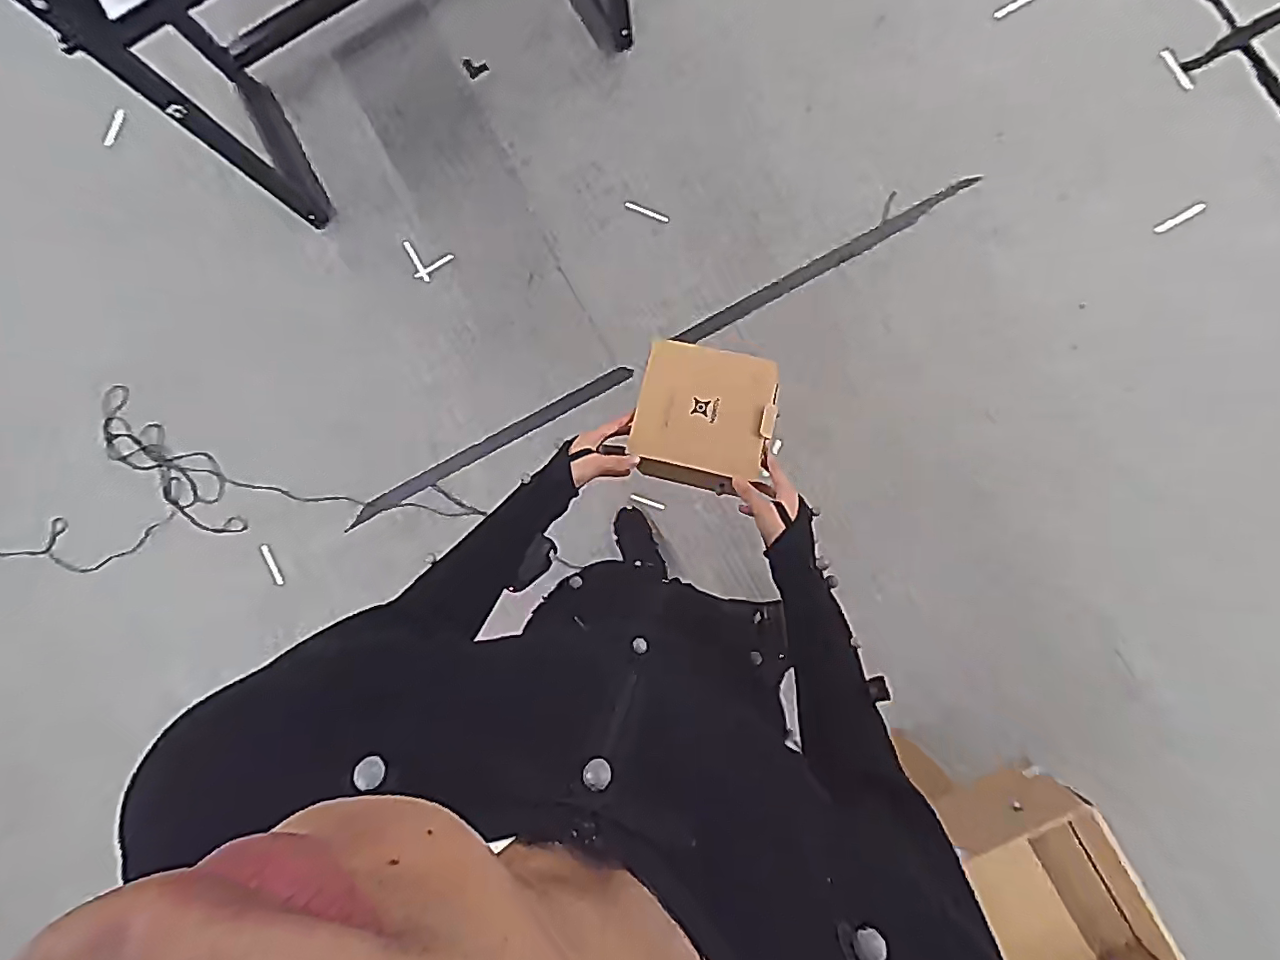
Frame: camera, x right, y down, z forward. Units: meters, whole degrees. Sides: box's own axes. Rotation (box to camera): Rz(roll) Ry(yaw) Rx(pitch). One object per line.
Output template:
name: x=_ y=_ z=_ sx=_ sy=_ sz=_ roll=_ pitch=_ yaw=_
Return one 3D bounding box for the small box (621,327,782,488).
small box: x=0.087 y=-0.092 z=0.769 sx=0.179 sy=0.176 sz=0.168 roll=13 pitch=81 yaw=8
